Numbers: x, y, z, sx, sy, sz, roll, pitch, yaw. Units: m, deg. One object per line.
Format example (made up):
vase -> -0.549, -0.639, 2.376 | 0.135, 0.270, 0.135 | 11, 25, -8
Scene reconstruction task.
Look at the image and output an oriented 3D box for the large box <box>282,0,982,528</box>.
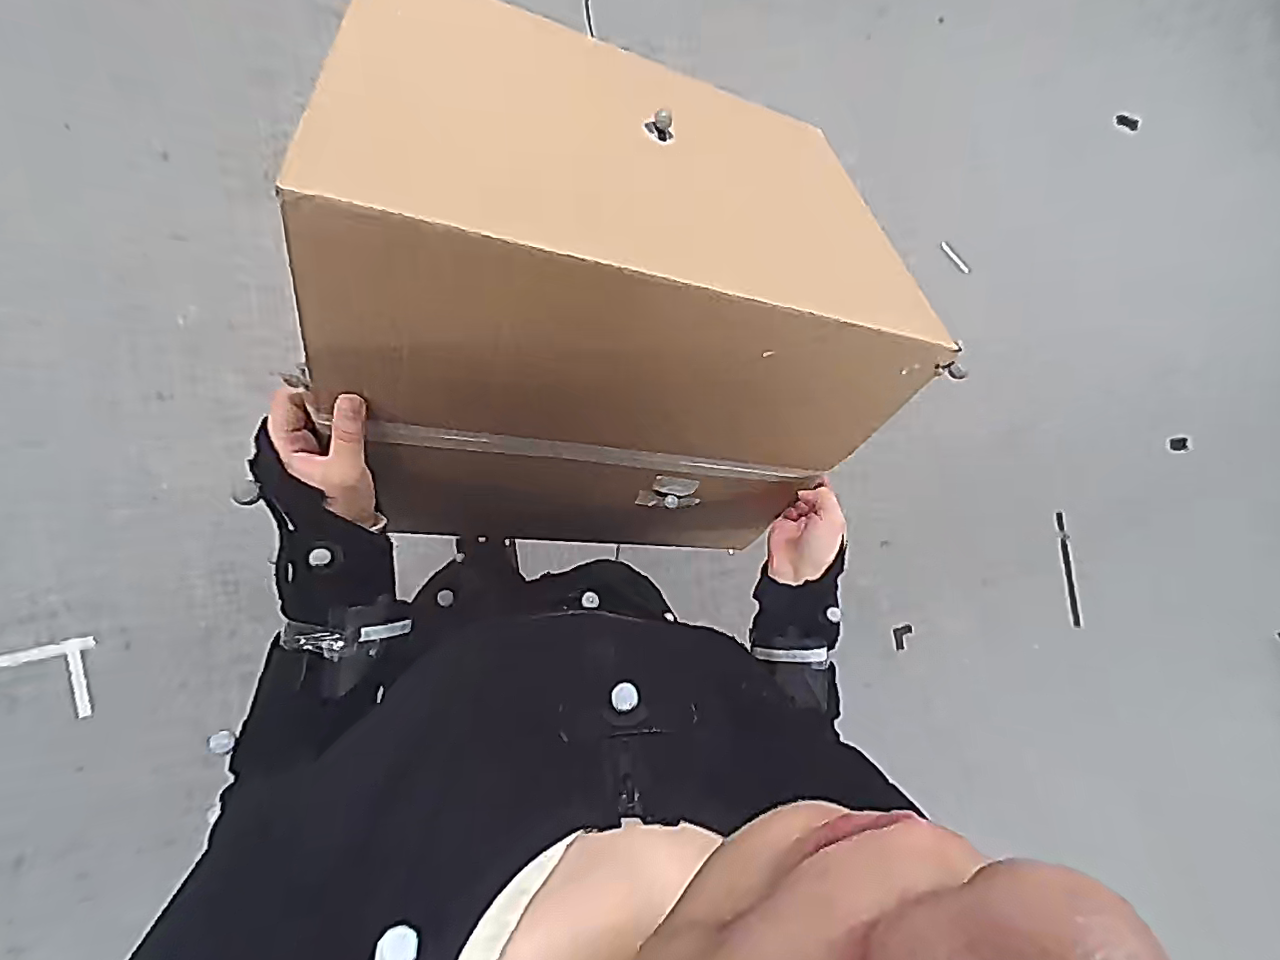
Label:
large box -> -0.030, -0.168, 0.480 | 0.408, 0.320, 0.320 | 4, 57, -21
